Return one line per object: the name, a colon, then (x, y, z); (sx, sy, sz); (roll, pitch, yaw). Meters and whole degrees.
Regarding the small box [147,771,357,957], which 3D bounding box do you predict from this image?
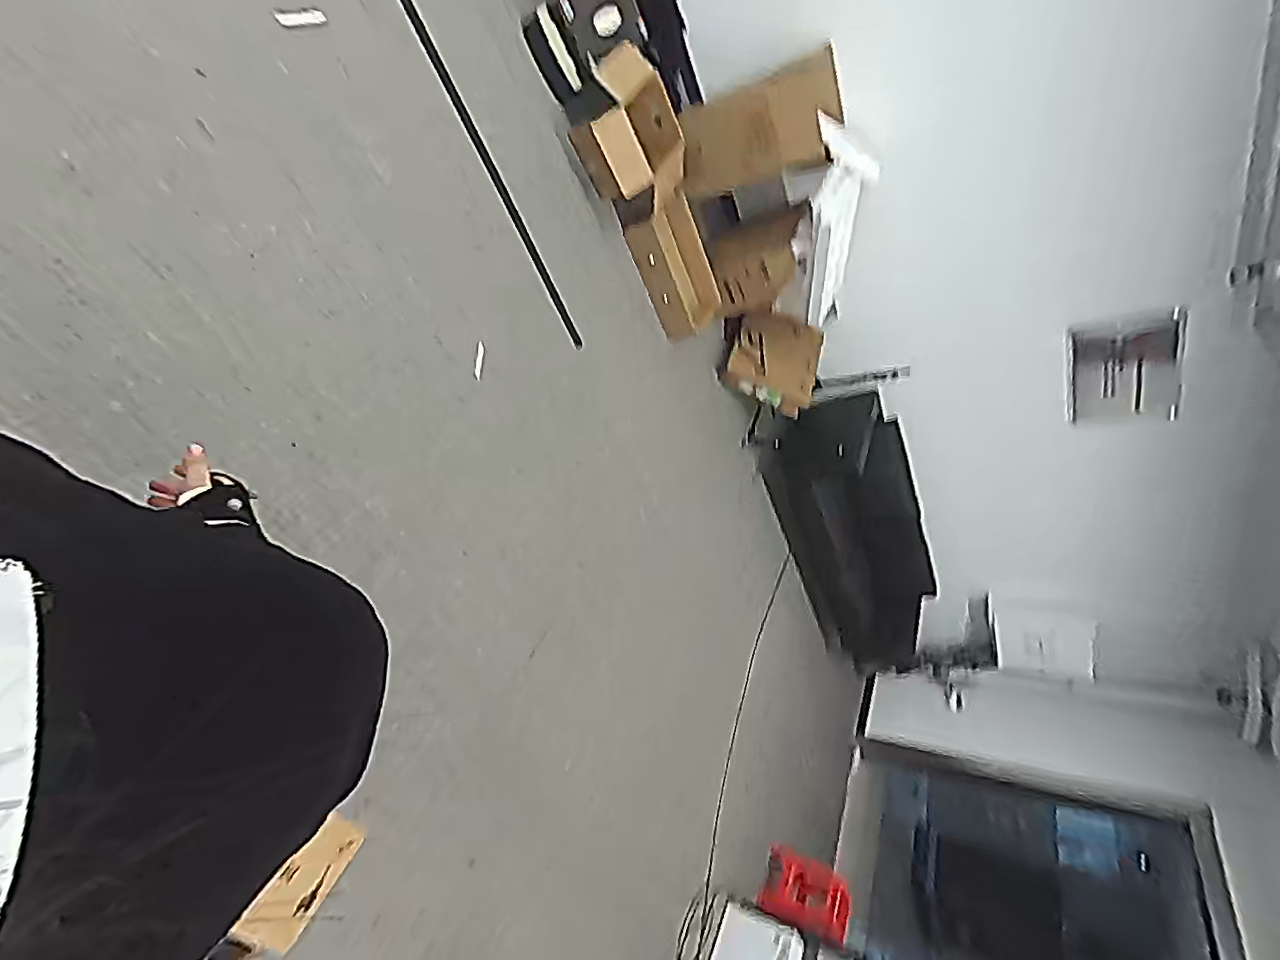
small box: (-0.590, 0.572, 0.827); (0.179, 0.176, 0.168); (59, 42, -28)
